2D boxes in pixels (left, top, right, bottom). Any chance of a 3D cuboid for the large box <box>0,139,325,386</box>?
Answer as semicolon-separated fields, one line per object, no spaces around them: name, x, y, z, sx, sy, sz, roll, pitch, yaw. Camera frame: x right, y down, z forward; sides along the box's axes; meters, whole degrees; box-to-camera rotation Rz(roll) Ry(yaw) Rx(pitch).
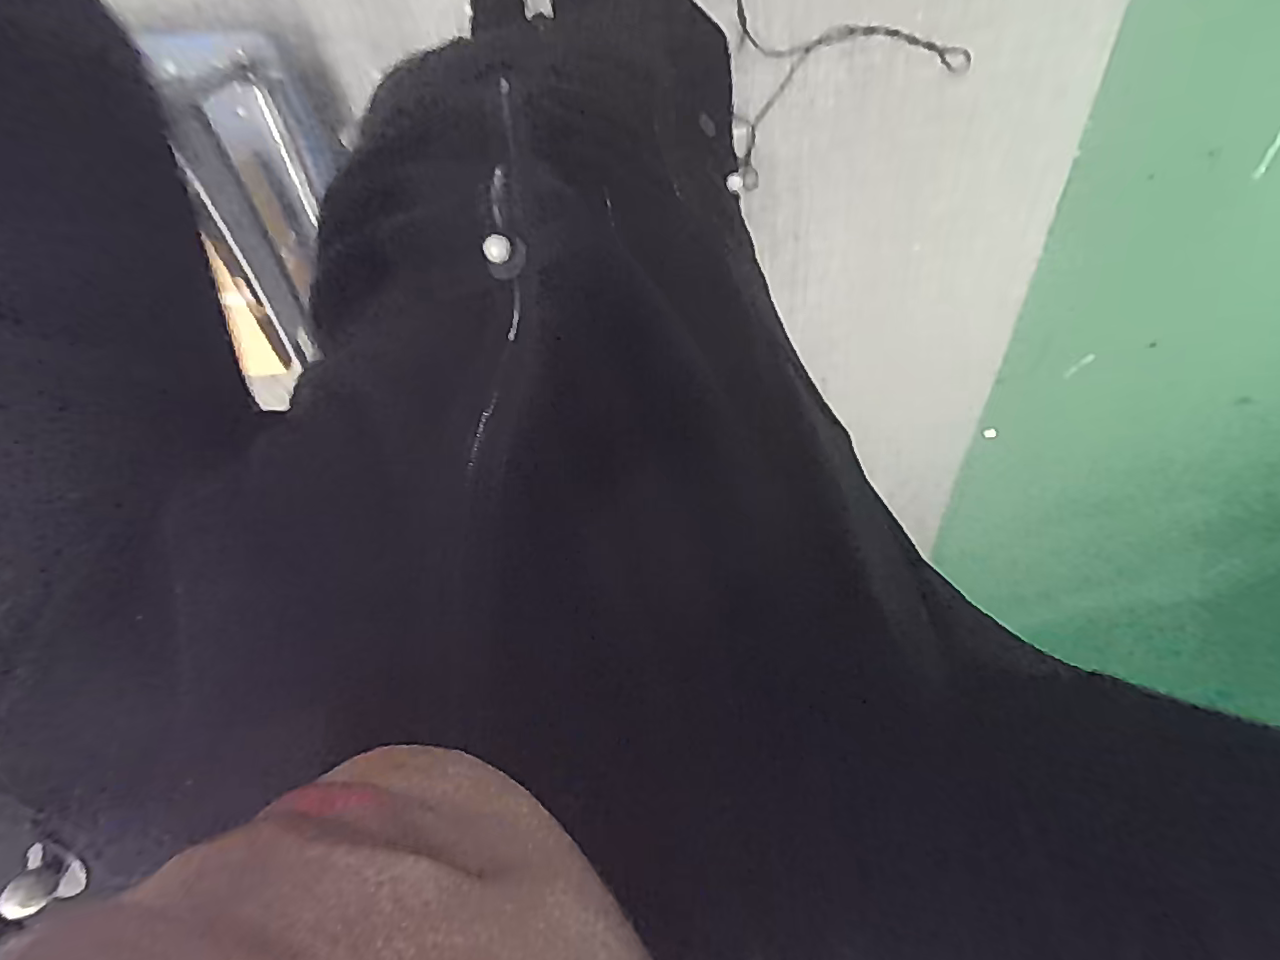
large box;-0.889;-0.409;1.007;0.408;0.320;0.320;-7;135;-6
